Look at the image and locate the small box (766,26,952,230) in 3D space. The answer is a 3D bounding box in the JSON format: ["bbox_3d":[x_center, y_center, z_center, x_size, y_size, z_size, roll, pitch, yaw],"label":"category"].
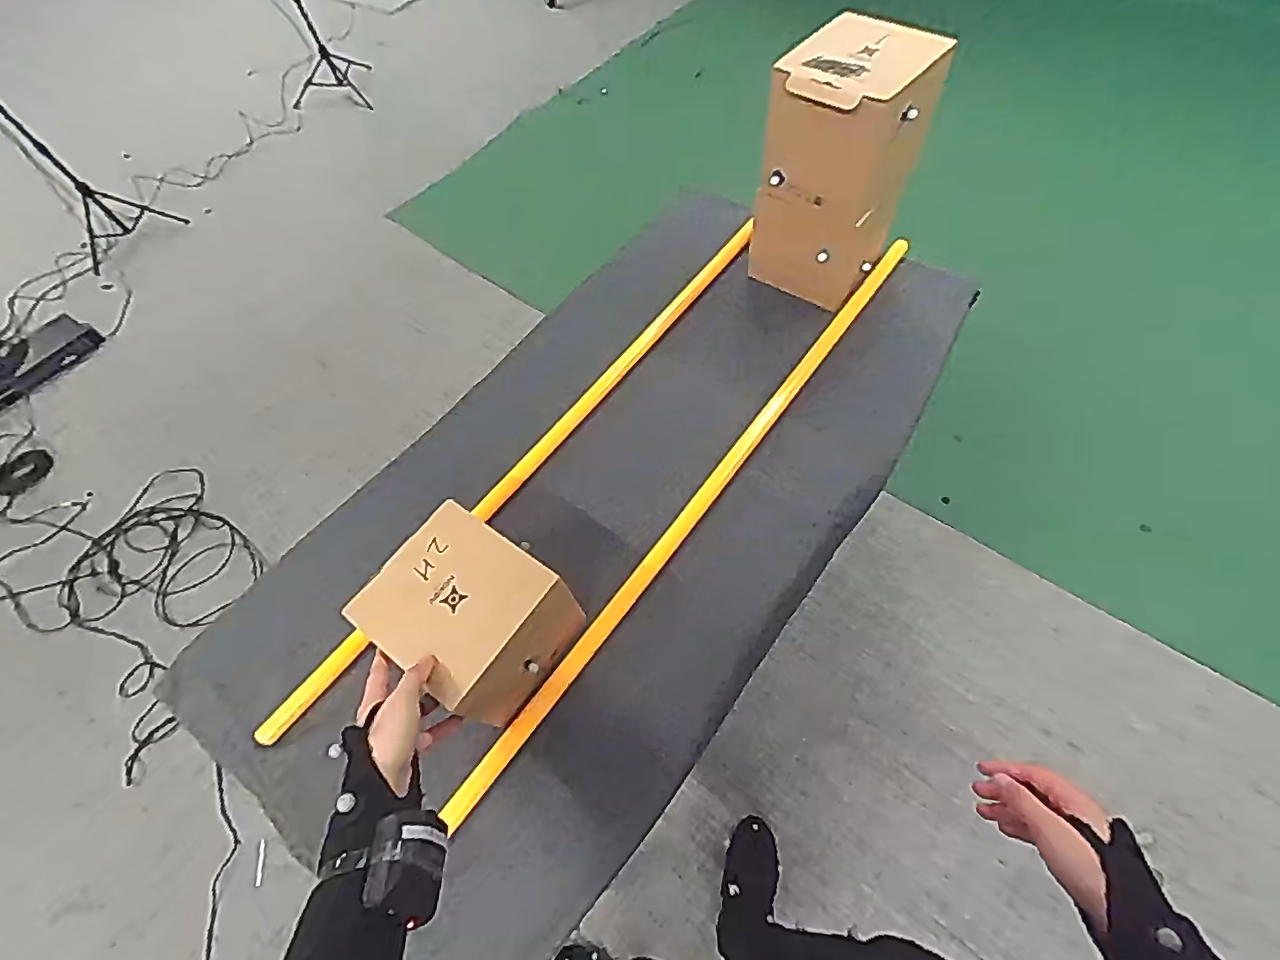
[{"bbox_3d":[0.295,-0.494,0.769,0.168,0.176,0.179,37,71,23],"label":"small box"}]

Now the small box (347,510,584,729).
[{"bbox_3d":[-0.187,0.171,0.638,0.179,0.176,0.168,30,67,21],"label":"small box"}]
